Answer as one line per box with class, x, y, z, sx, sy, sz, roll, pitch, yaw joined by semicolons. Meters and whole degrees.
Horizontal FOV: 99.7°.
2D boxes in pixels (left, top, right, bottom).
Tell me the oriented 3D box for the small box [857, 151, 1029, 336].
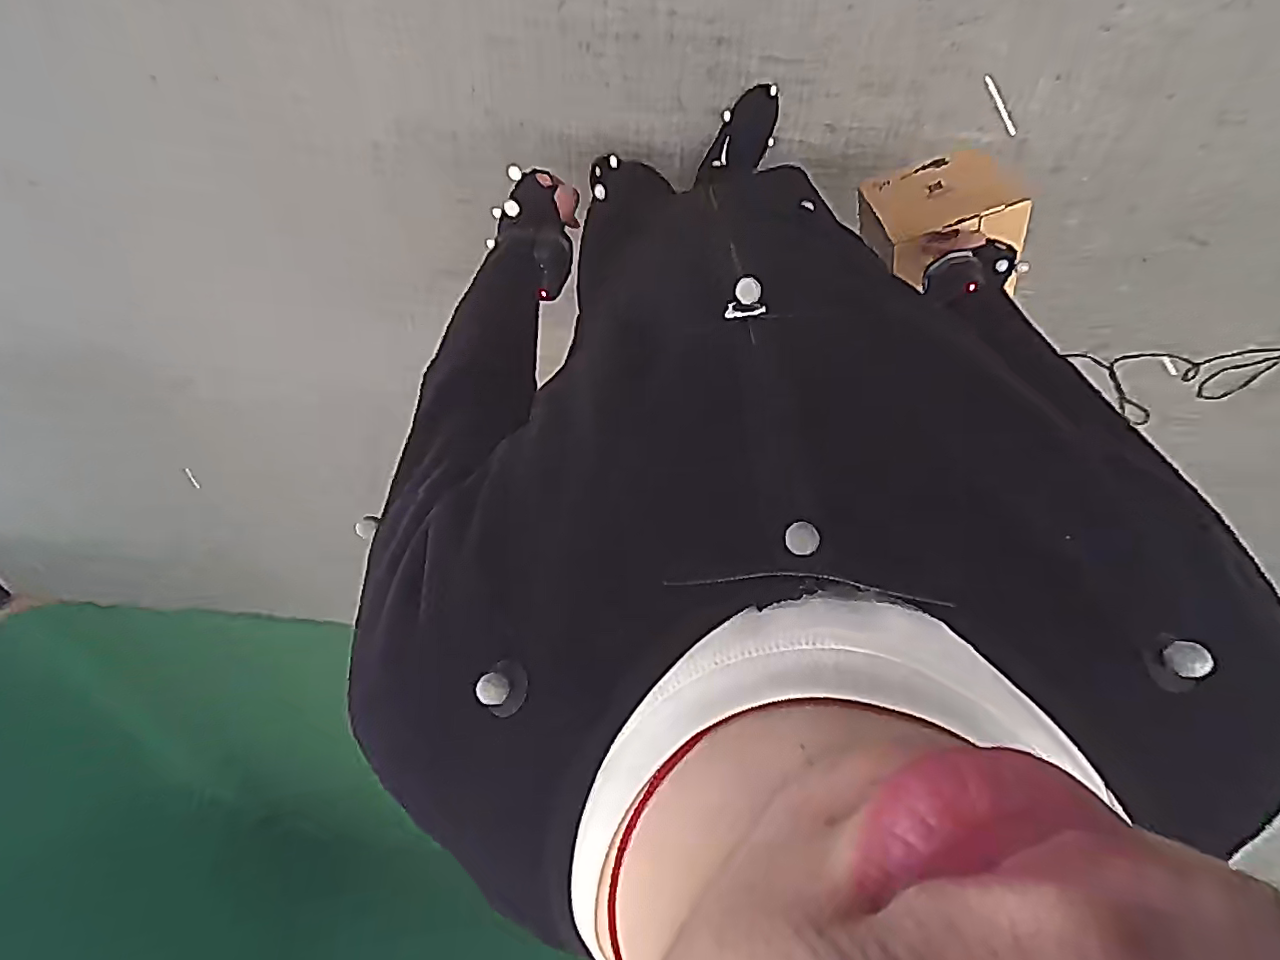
small box;0.440;-0.339;0.803;0.168;0.179;0.176;-18;137;16
